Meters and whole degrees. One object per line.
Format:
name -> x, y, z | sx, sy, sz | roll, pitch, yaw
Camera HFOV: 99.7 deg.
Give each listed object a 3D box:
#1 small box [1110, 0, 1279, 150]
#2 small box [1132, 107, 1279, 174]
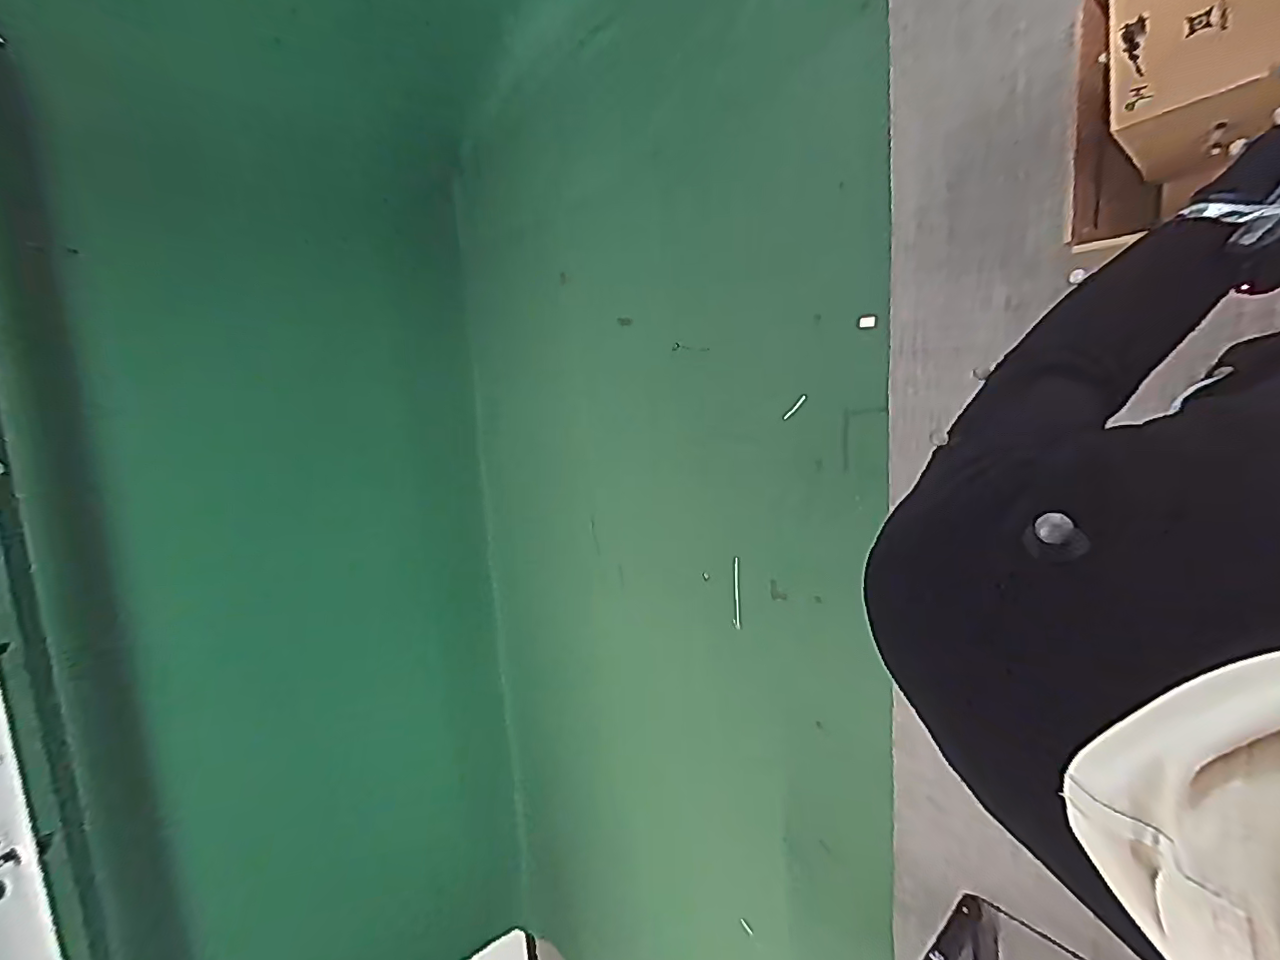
small box -> 0.699, -0.535, 0.654 | 0.179, 0.176, 0.168 | 2, 100, 50
small box -> 0.824, -0.558, 0.758 | 0.179, 0.176, 0.168 | 5, 101, 49
